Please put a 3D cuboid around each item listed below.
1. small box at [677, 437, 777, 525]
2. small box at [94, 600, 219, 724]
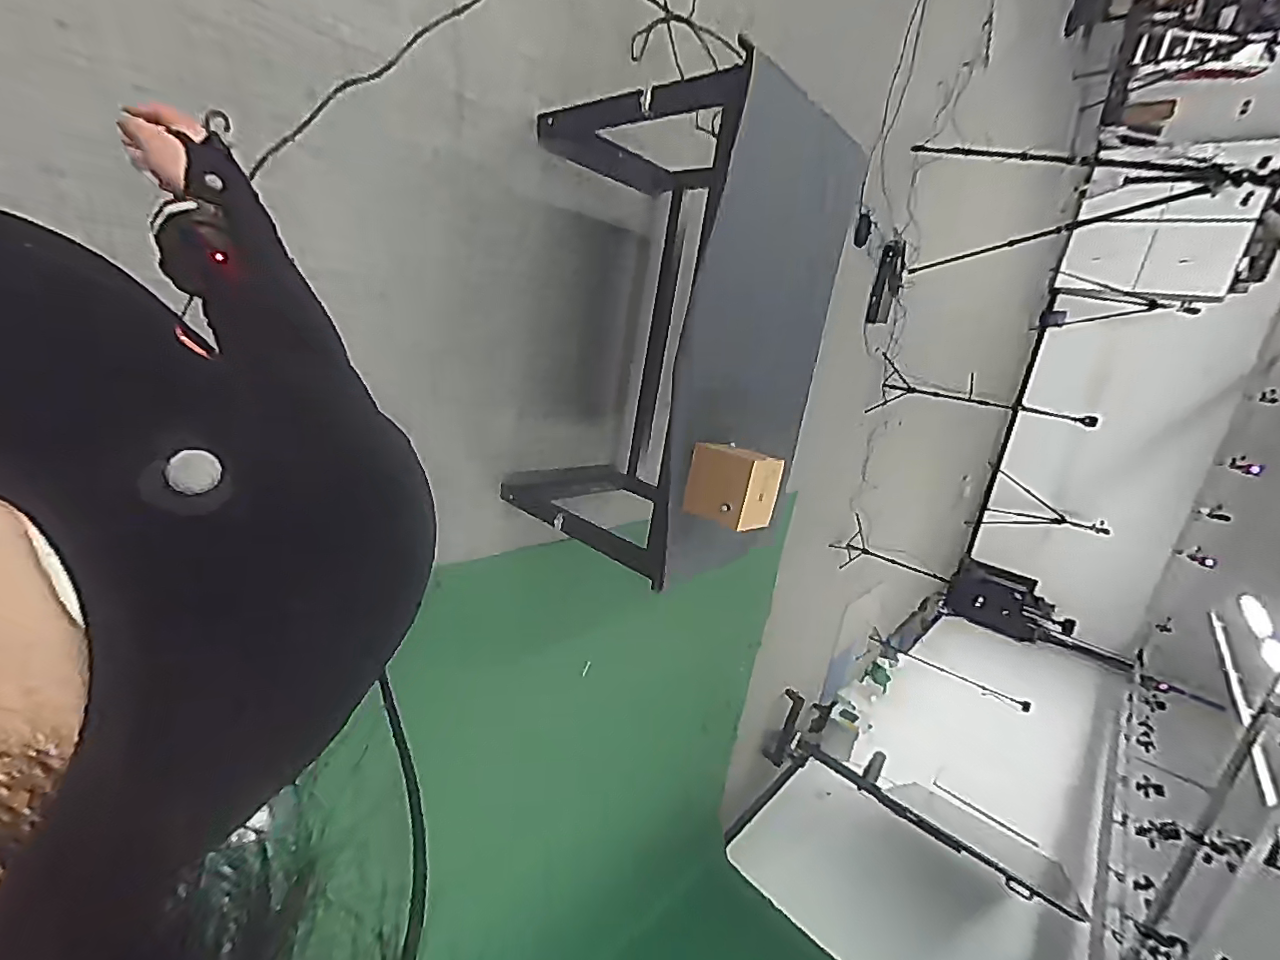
[{"bbox_3d":[0.212,0.000,1.346,0.168,0.176,0.179,-2,107,-52],"label":"small box"},{"bbox_3d":[-1.029,0.375,1.152,0.179,0.176,0.168,-4,109,-49],"label":"small box"}]
